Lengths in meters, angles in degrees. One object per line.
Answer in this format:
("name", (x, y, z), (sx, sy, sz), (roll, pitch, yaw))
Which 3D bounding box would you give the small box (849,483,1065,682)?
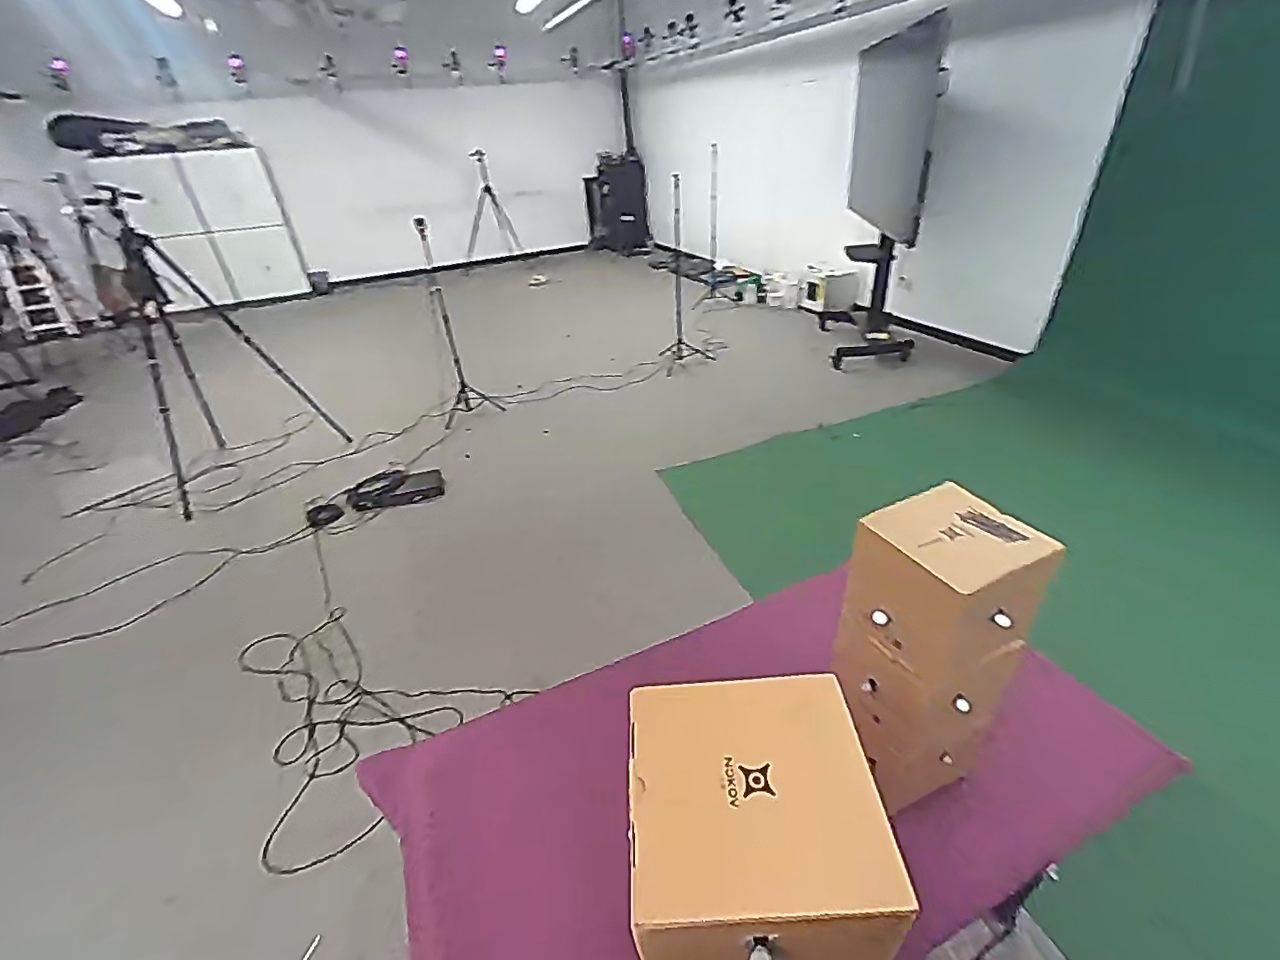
("small box", (0.410, 0.135, 0.732), (0.179, 0.176, 0.168), (-18, 36, -18))

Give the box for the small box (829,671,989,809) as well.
("small box", (0.434, 0.411, 0.908), (0.179, 0.176, 0.168), (-16, 35, -16))

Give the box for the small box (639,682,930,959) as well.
("small box", (0.094, 0.286, 0.432), (0.179, 0.176, 0.168), (-6, 36, 4))

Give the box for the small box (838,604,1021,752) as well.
("small box", (0.421, 0.273, 0.821), (0.179, 0.176, 0.168), (-18, 36, -17))
